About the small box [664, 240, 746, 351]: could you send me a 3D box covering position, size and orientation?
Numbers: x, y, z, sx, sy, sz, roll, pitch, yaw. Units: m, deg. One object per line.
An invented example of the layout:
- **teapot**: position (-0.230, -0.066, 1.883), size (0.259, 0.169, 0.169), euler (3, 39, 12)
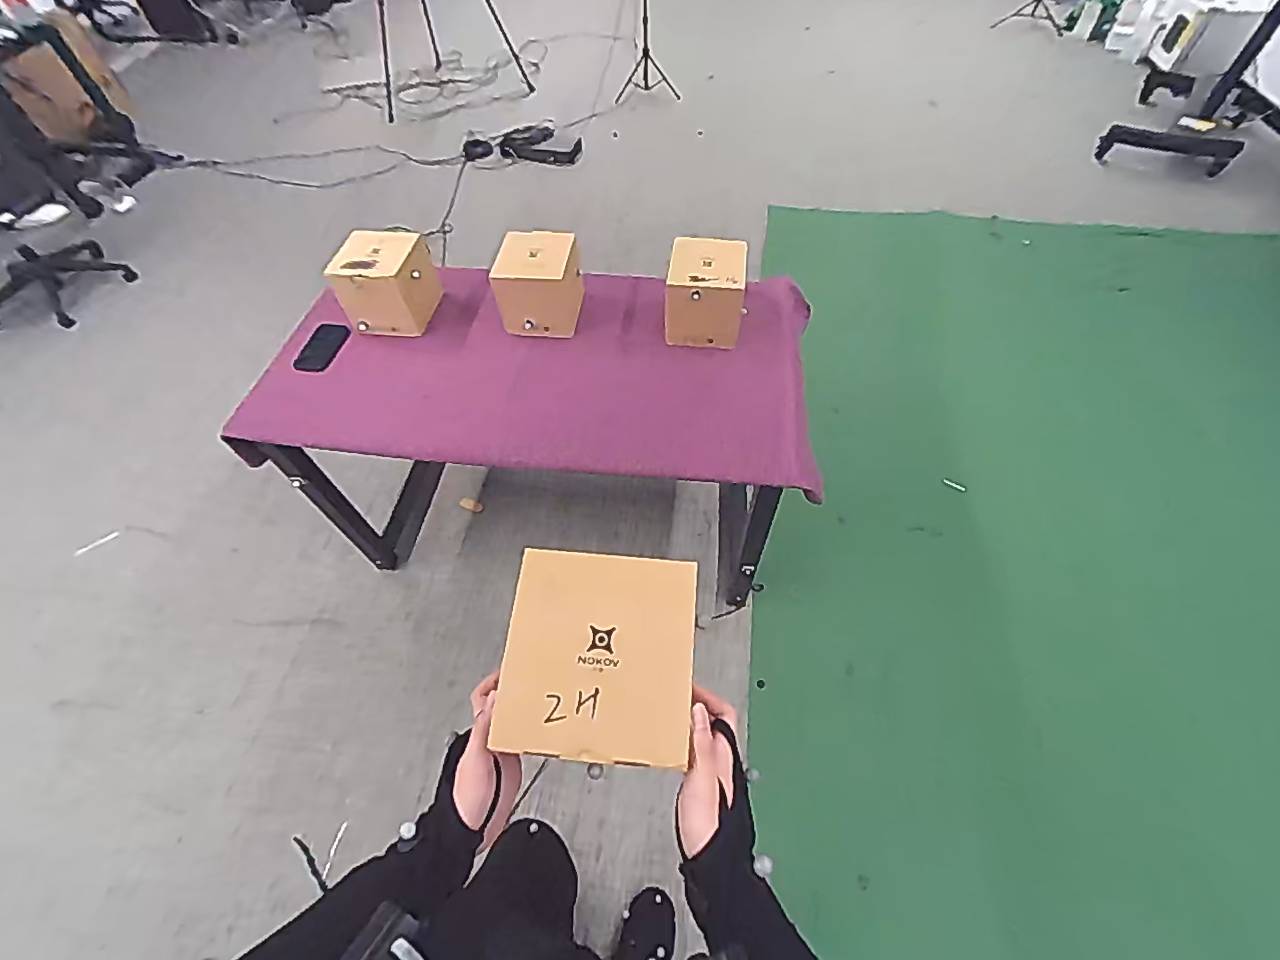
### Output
- **small box**: position (0.146, -0.420, 1.234), size (0.168, 0.176, 0.179), euler (5, 55, 7)

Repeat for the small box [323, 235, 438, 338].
- **small box**: position (-0.605, -0.458, 1.291), size (0.168, 0.176, 0.179), euler (4, 55, 5)

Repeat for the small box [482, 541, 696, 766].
- **small box**: position (-0.036, 0.177, 0.535), size (0.168, 0.176, 0.179), euler (4, 63, 4)

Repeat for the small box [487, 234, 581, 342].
- **small box**: position (-0.240, -0.451, 1.274), size (0.168, 0.176, 0.179), euler (4, 56, 6)
